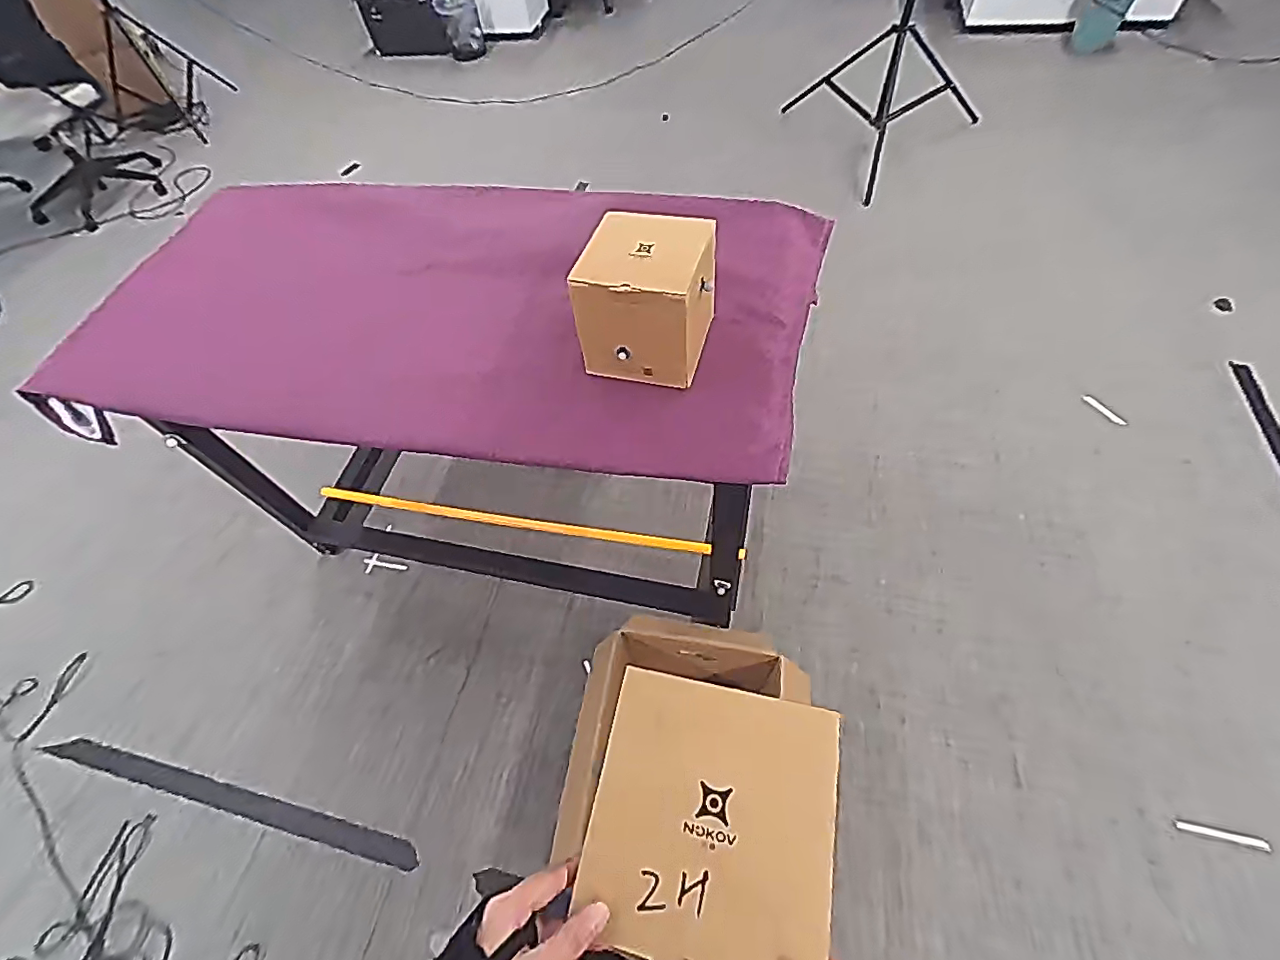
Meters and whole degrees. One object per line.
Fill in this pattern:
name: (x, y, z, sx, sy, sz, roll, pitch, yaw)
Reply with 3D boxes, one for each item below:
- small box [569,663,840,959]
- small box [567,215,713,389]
small box: (0.059, 0.270, 0.442, 0.168, 0.176, 0.179, 7, 61, 13)
small box: (0.009, -0.264, 0.807, 0.168, 0.176, 0.179, 11, 57, 14)
